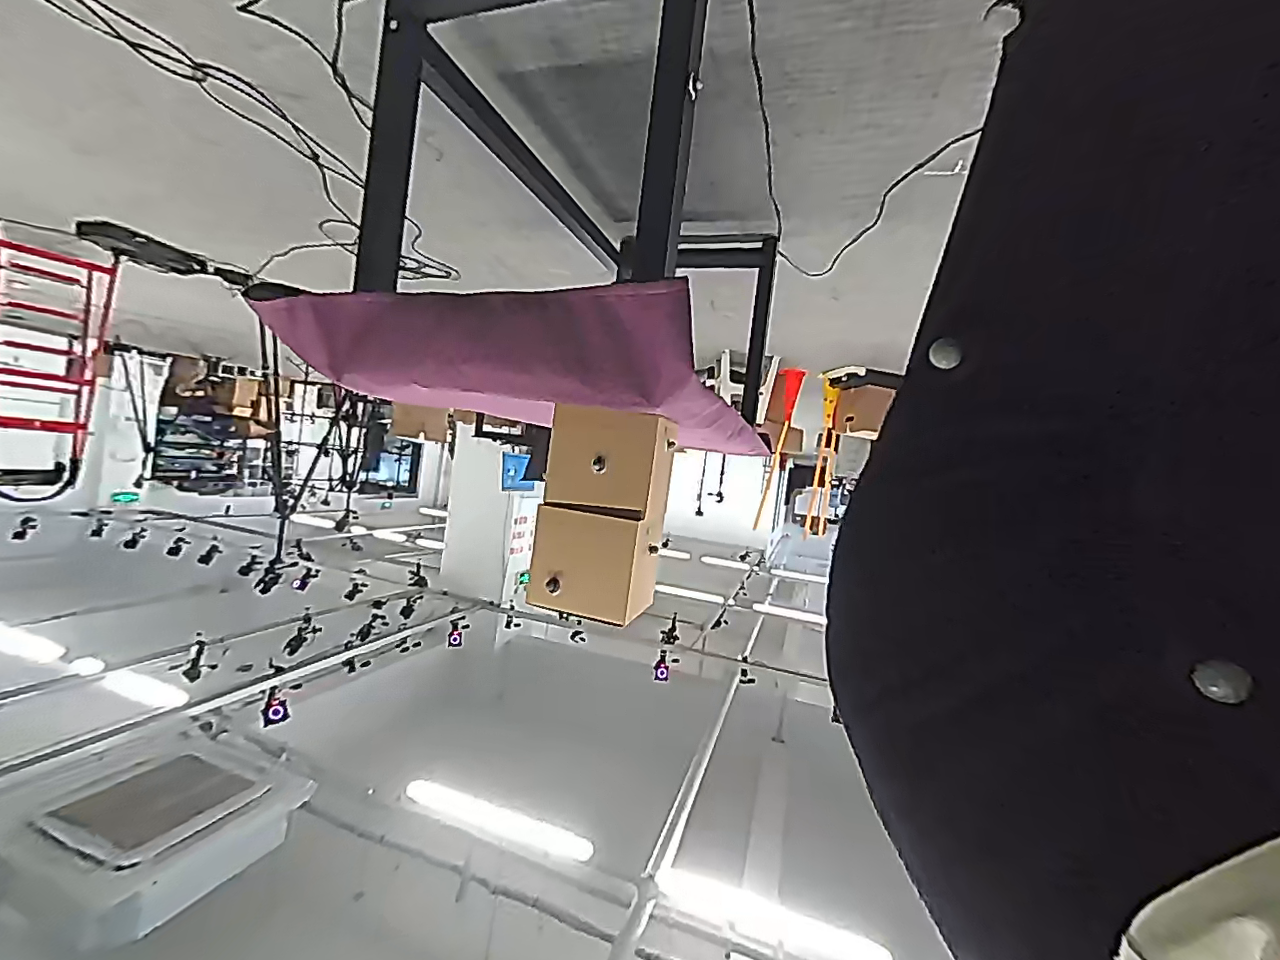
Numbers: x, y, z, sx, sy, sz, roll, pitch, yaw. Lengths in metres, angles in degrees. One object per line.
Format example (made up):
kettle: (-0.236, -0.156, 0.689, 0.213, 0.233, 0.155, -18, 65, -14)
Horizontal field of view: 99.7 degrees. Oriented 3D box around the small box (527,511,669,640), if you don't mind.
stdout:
small box: (-0.065, 0.150, 0.919, 0.179, 0.176, 0.168, 11, -178, 18)
